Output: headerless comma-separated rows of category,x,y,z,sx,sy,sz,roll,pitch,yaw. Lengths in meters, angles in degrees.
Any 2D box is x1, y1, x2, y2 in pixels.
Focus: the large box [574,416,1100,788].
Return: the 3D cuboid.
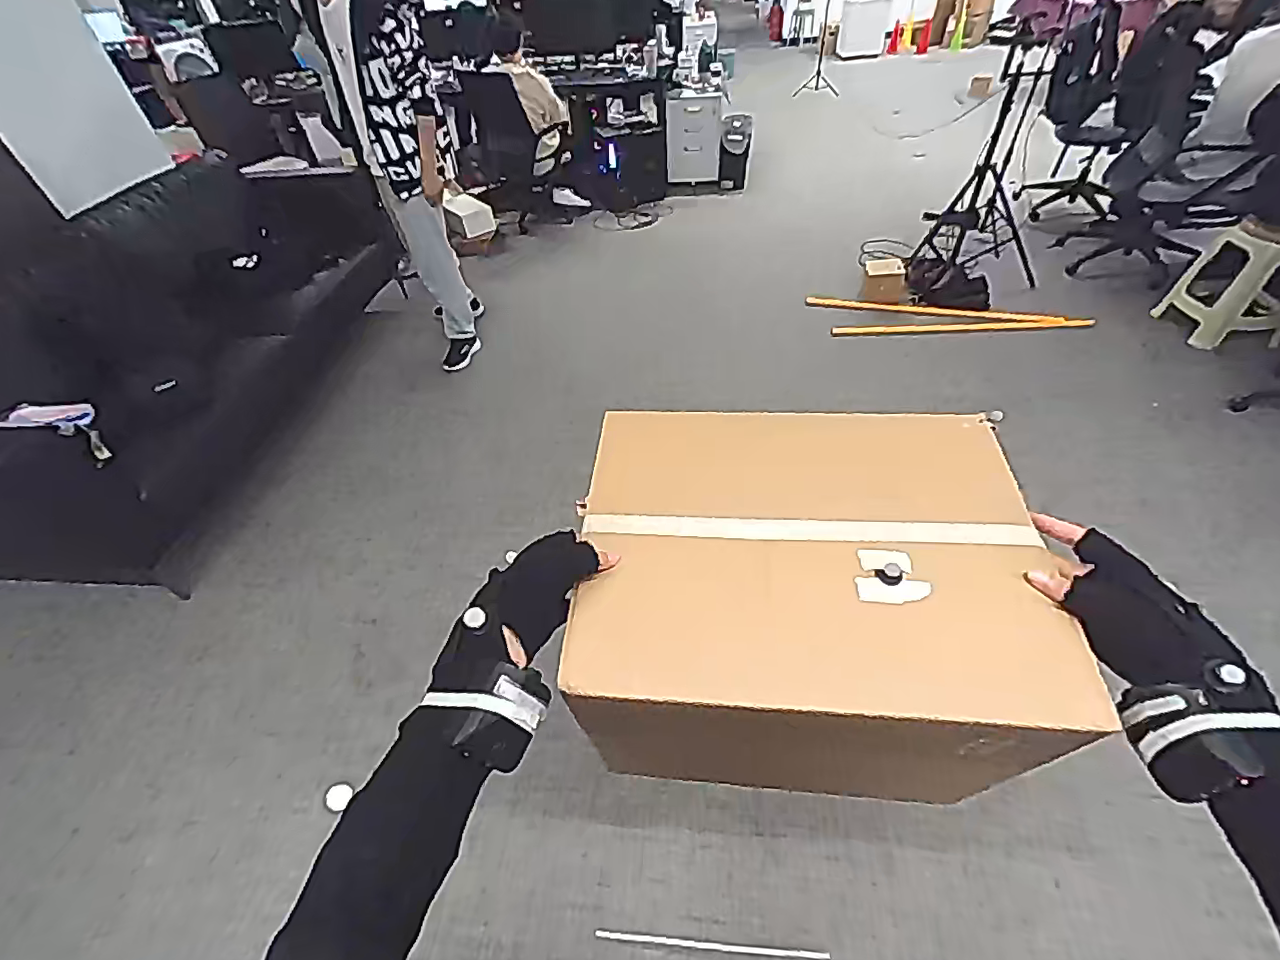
large box,0.161,0.142,0.620,0.408,0.320,0.320,2,52,6
